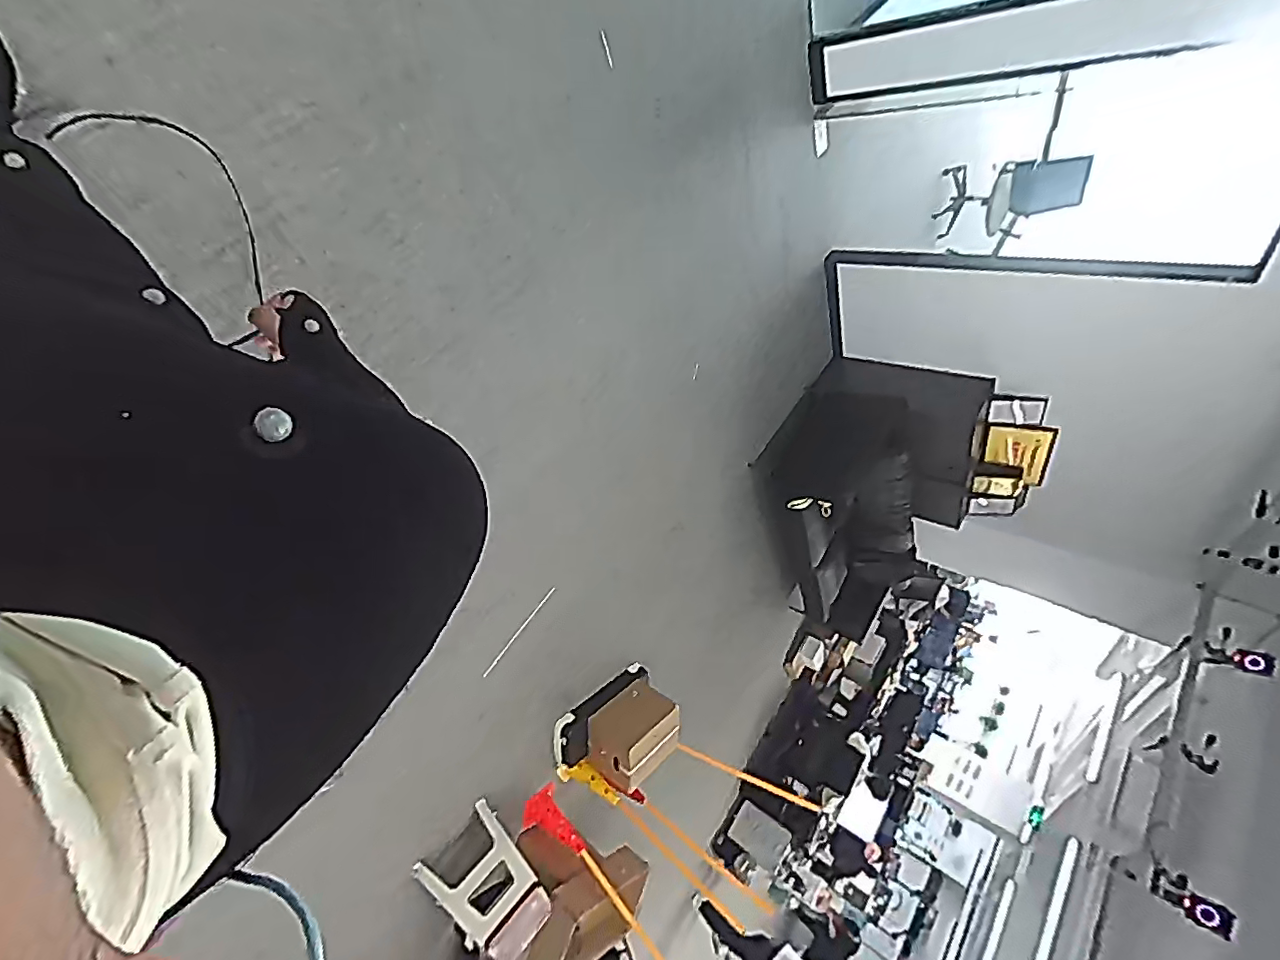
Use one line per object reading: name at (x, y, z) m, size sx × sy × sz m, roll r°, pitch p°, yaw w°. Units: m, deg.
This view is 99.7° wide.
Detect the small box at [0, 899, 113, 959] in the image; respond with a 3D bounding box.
small box at (-0.826, 0.673, 0.681) m, size 0.179 × 0.176 × 0.168 m, roll -53°, pitch 140°, yaw -21°
